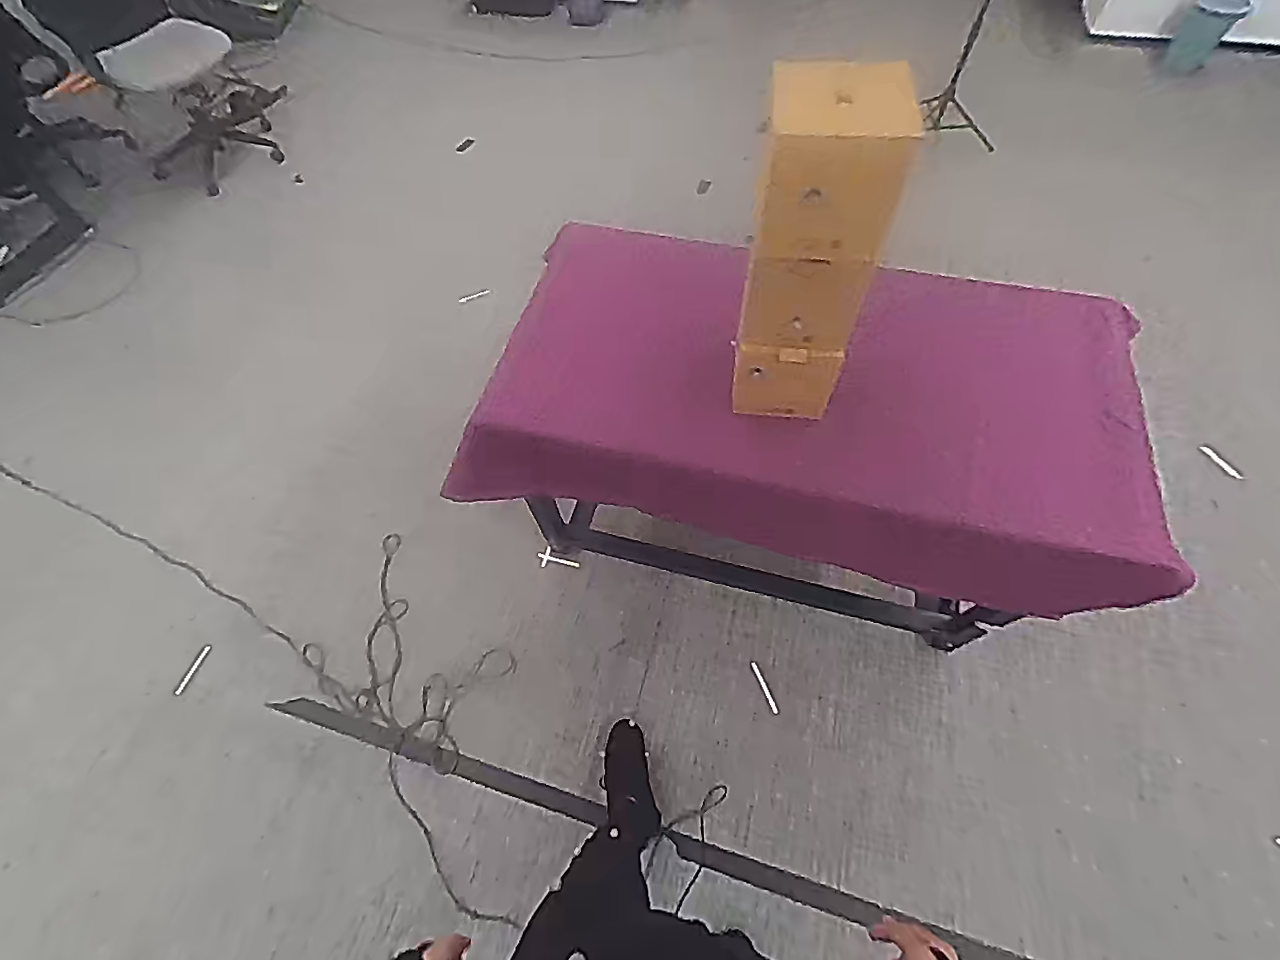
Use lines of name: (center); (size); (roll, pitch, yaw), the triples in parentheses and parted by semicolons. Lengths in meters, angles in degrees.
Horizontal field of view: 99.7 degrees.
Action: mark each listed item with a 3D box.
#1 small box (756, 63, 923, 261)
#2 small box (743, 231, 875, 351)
small box: (0.248, -0.412, 0.713); (0.168, 0.176, 0.179); (5, 59, 6)
small box: (0.259, -0.332, 0.855); (0.168, 0.176, 0.179); (7, 61, 8)
